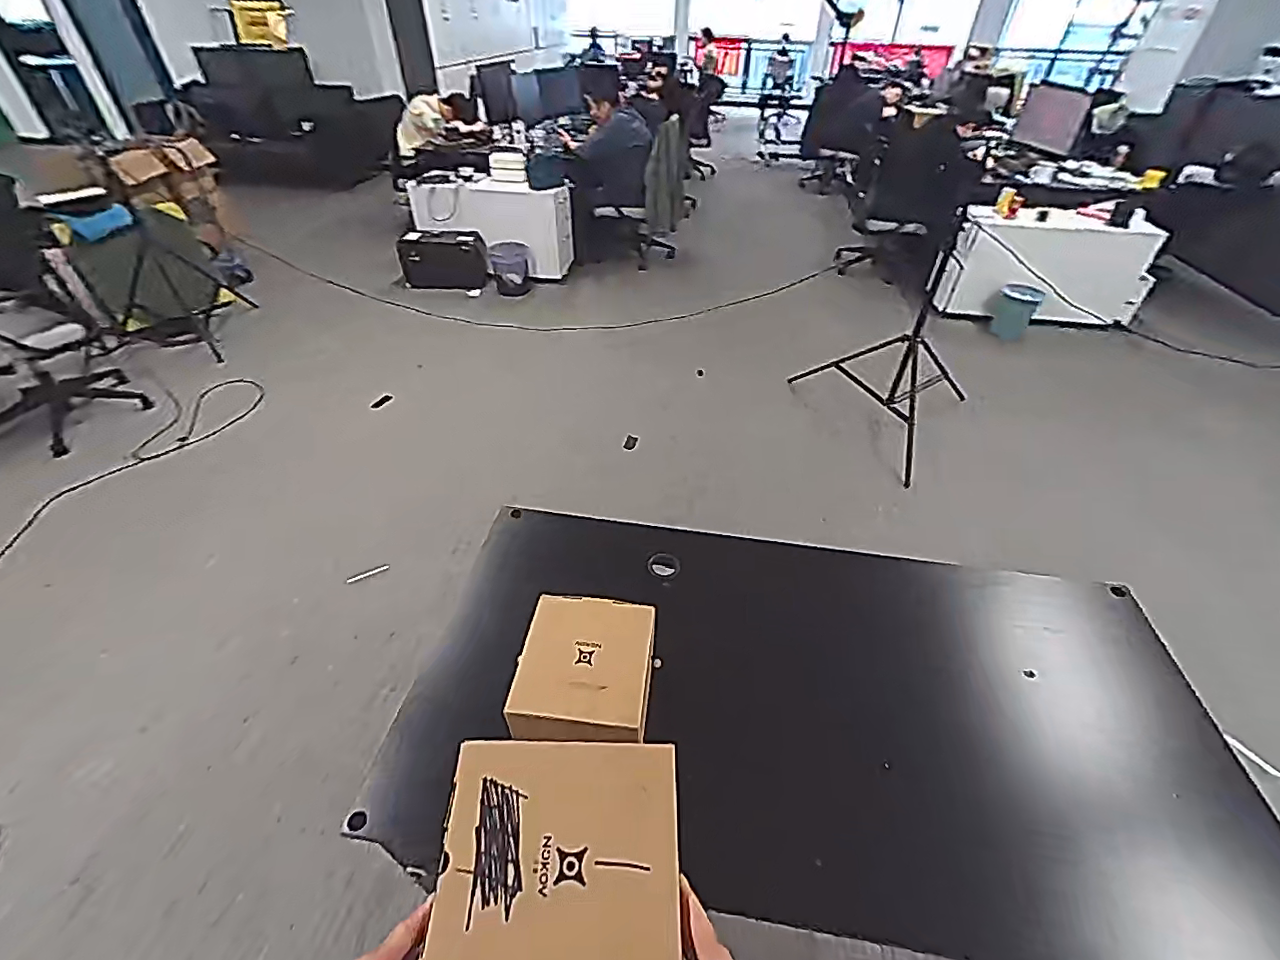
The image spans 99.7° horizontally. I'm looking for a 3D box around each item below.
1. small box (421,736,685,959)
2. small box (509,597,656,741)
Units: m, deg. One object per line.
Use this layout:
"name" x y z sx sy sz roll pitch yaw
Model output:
"small box" -0.059 0.327 0.452 0.179 0.176 0.168 2 50 -2
"small box" -0.069 0.290 0.752 0.168 0.176 0.179 4 42 5
